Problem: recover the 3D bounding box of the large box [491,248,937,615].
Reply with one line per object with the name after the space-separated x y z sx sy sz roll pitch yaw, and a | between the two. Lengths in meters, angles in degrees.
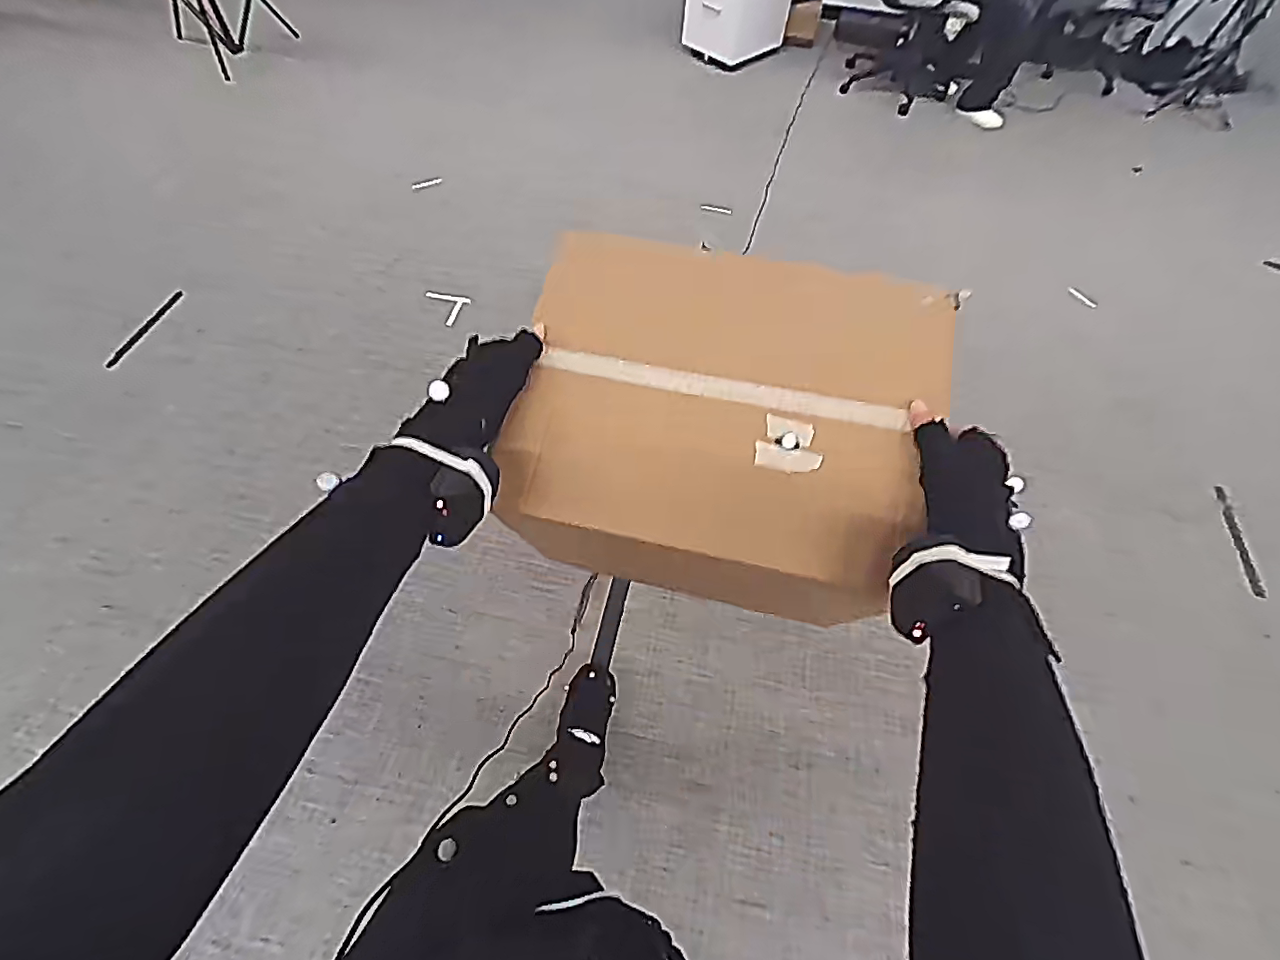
0.085 -0.034 0.674 0.408 0.320 0.320 12 74 6 | large box
